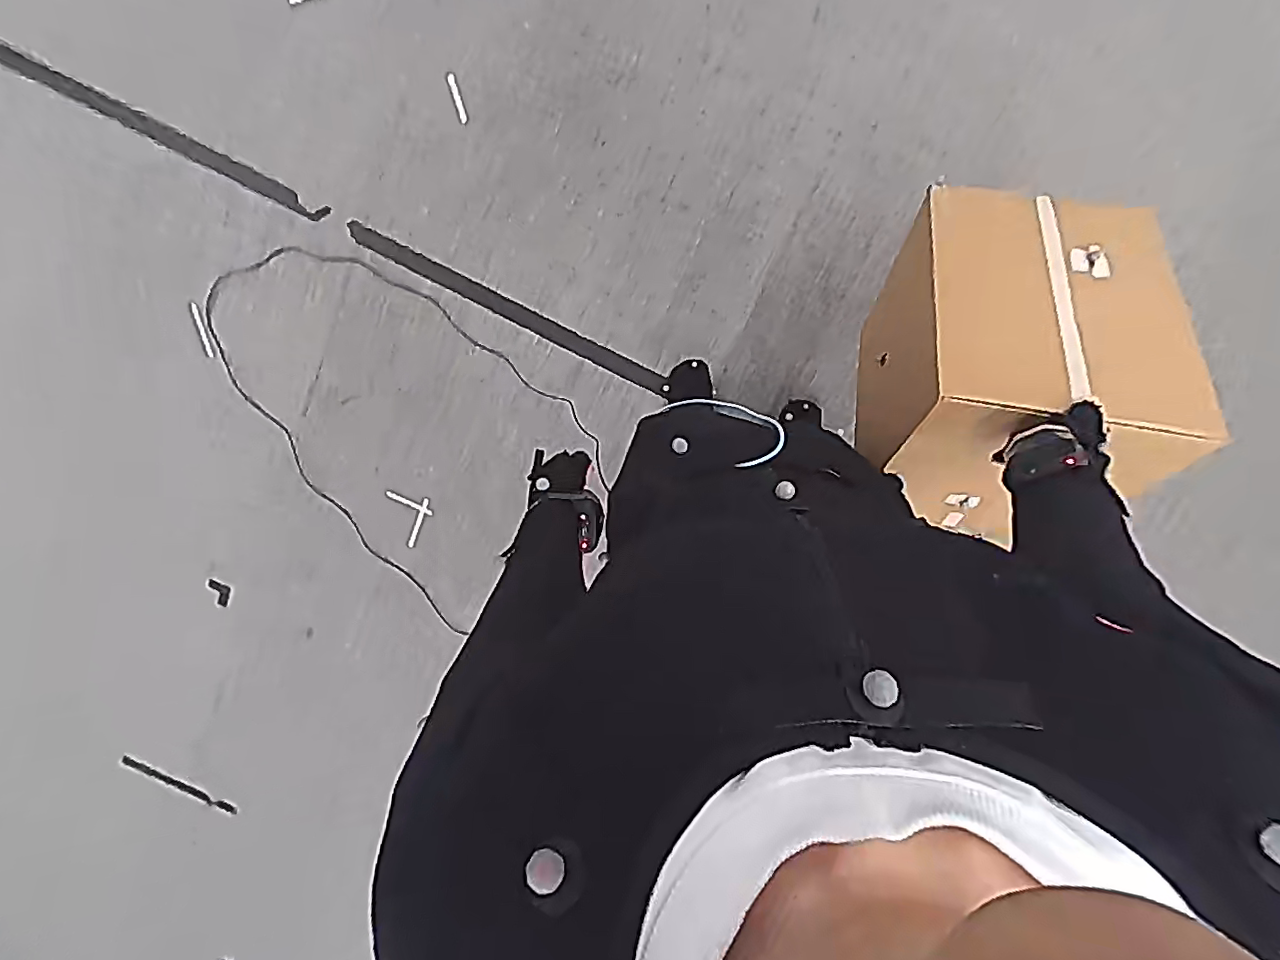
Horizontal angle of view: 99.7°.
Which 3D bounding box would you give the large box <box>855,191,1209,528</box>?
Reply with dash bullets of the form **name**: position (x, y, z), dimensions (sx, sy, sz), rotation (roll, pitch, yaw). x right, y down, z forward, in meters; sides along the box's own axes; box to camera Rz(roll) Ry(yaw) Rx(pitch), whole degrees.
- **large box**: position (0.546, -0.179, 0.858), dimensions (0.320, 0.320, 0.408), rotation (10, 63, 5)
